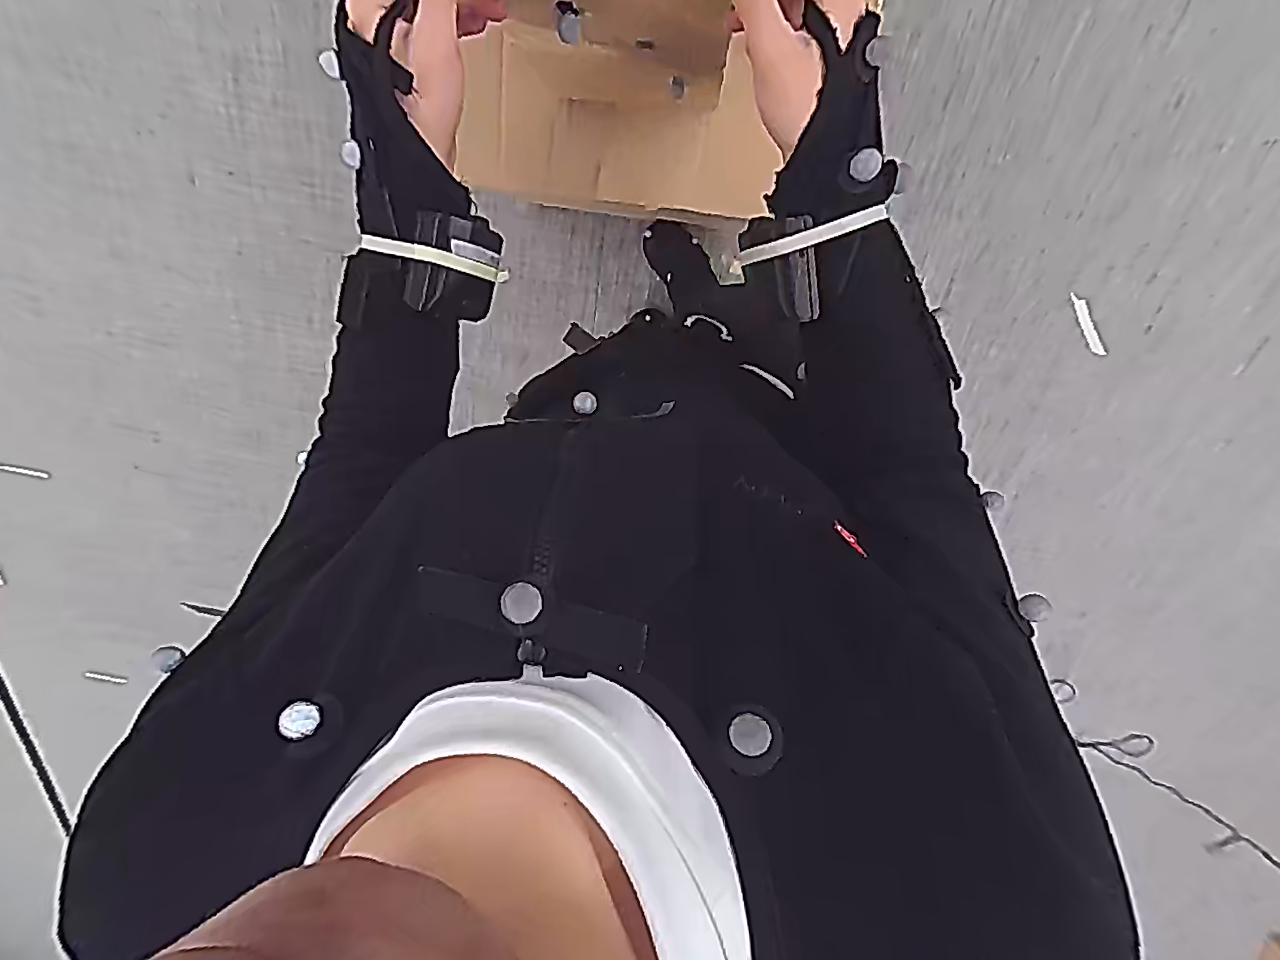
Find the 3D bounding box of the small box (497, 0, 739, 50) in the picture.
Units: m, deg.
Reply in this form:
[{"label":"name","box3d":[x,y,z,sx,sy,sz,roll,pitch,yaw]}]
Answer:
[{"label":"small box","box3d":[-0.013,-0.372,0.301,0.168,0.176,0.179,7,114,3]}]
